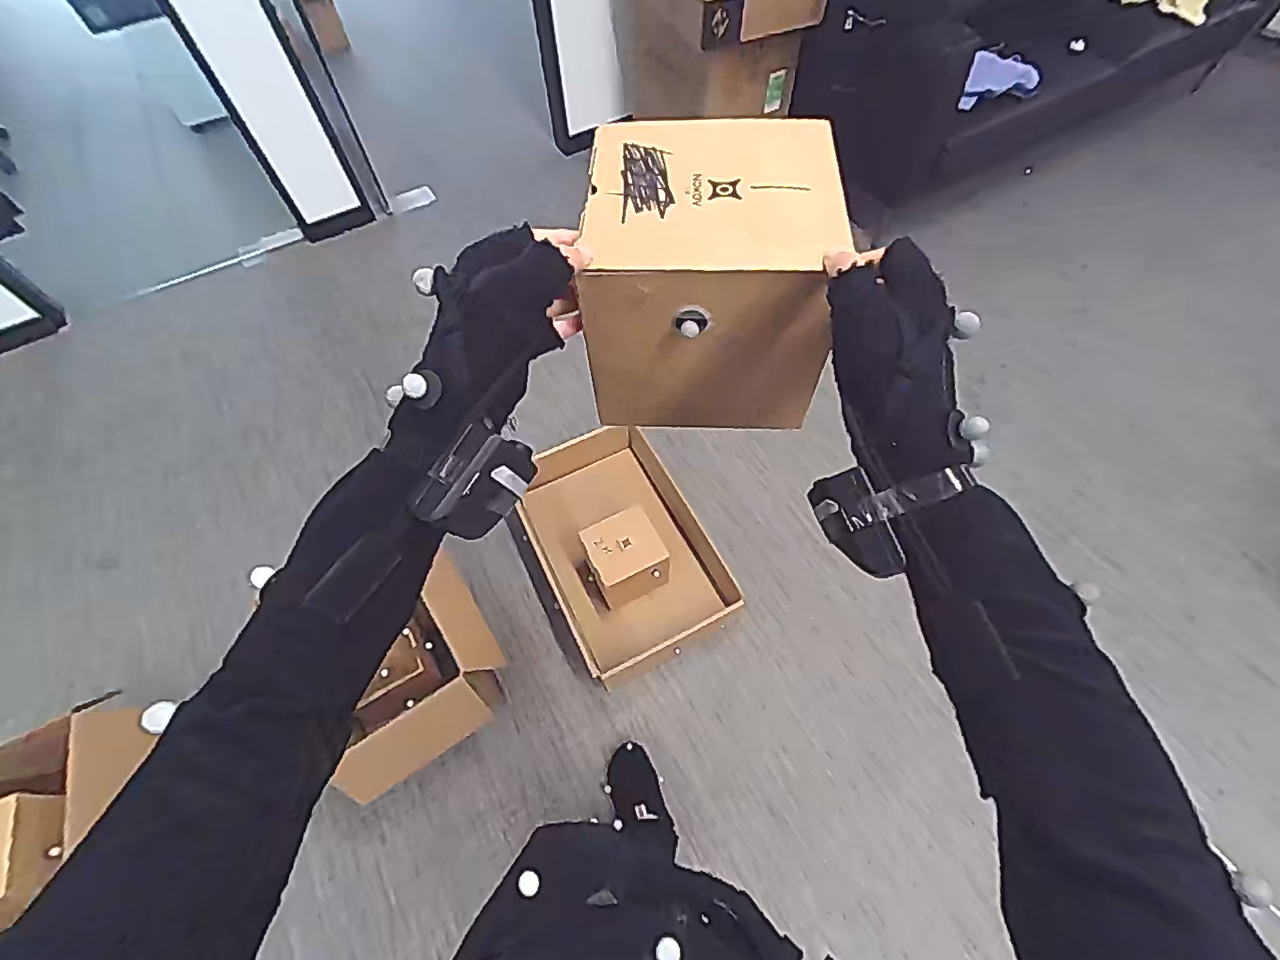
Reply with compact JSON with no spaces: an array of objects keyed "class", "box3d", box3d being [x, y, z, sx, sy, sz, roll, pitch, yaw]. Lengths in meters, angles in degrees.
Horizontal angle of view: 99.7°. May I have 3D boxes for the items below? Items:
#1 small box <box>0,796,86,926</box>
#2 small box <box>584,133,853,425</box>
[{"class":"small box","box3d":[-1.149,0.686,0.960,0.179,0.176,0.168,-22,61,-13]},{"class":"small box","box3d":[0.057,-0.160,0.455,0.179,0.176,0.168,2,60,3]}]
